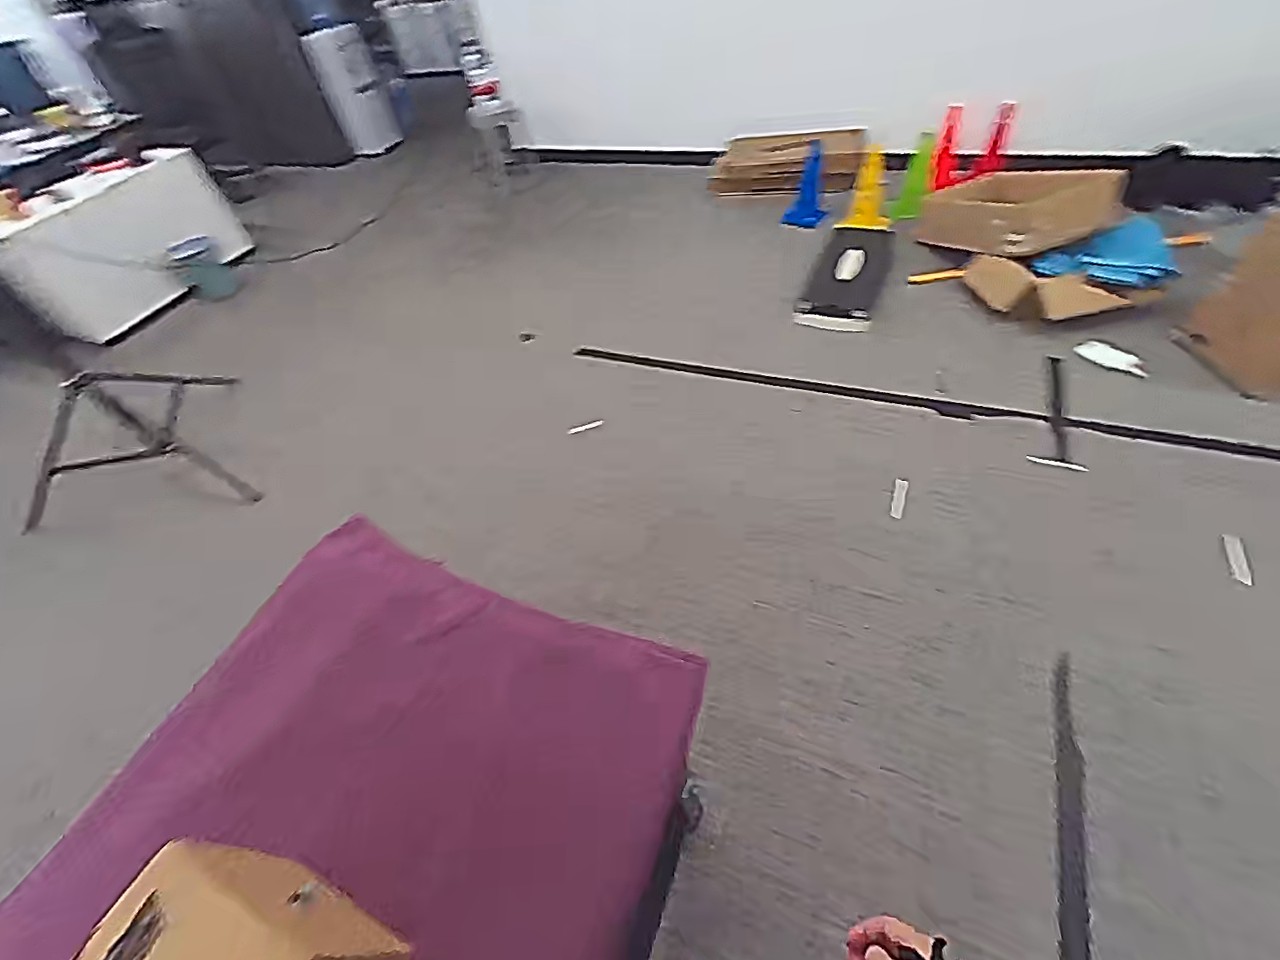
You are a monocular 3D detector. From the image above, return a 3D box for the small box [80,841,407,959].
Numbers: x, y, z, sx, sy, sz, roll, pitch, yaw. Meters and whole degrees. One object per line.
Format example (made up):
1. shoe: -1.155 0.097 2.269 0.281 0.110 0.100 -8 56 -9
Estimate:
1. small box: -0.335 0.433 0.438 0.179 0.176 0.168 15 54 21
